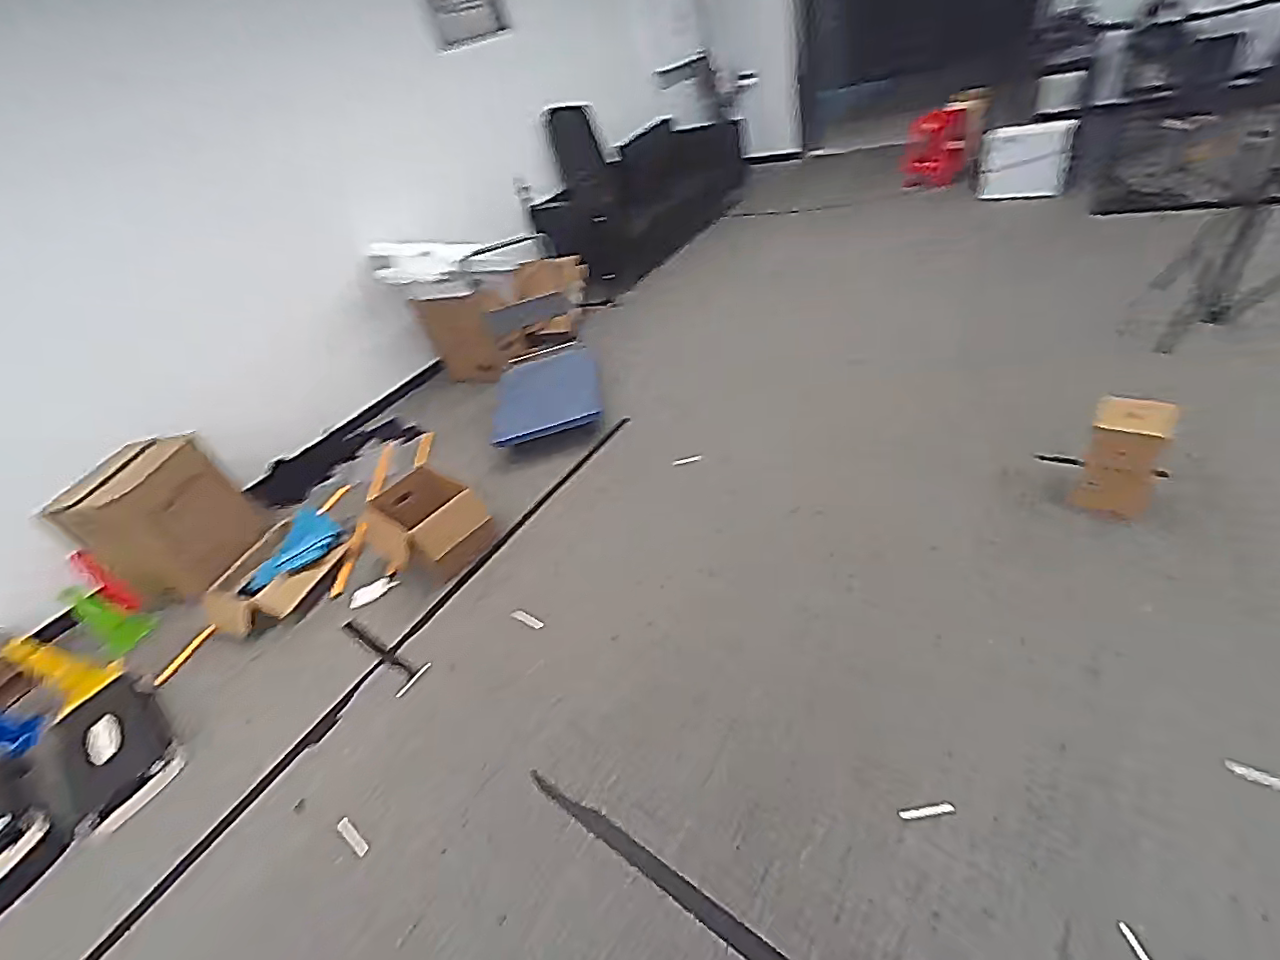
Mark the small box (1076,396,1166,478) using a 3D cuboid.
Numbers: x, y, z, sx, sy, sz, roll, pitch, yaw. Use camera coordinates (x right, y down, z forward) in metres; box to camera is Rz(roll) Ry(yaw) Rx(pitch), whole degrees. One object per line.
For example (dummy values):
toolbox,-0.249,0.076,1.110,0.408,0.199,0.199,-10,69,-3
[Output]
small box,1.465,-0.130,1.654,0.168,0.176,0.179,18,50,37
